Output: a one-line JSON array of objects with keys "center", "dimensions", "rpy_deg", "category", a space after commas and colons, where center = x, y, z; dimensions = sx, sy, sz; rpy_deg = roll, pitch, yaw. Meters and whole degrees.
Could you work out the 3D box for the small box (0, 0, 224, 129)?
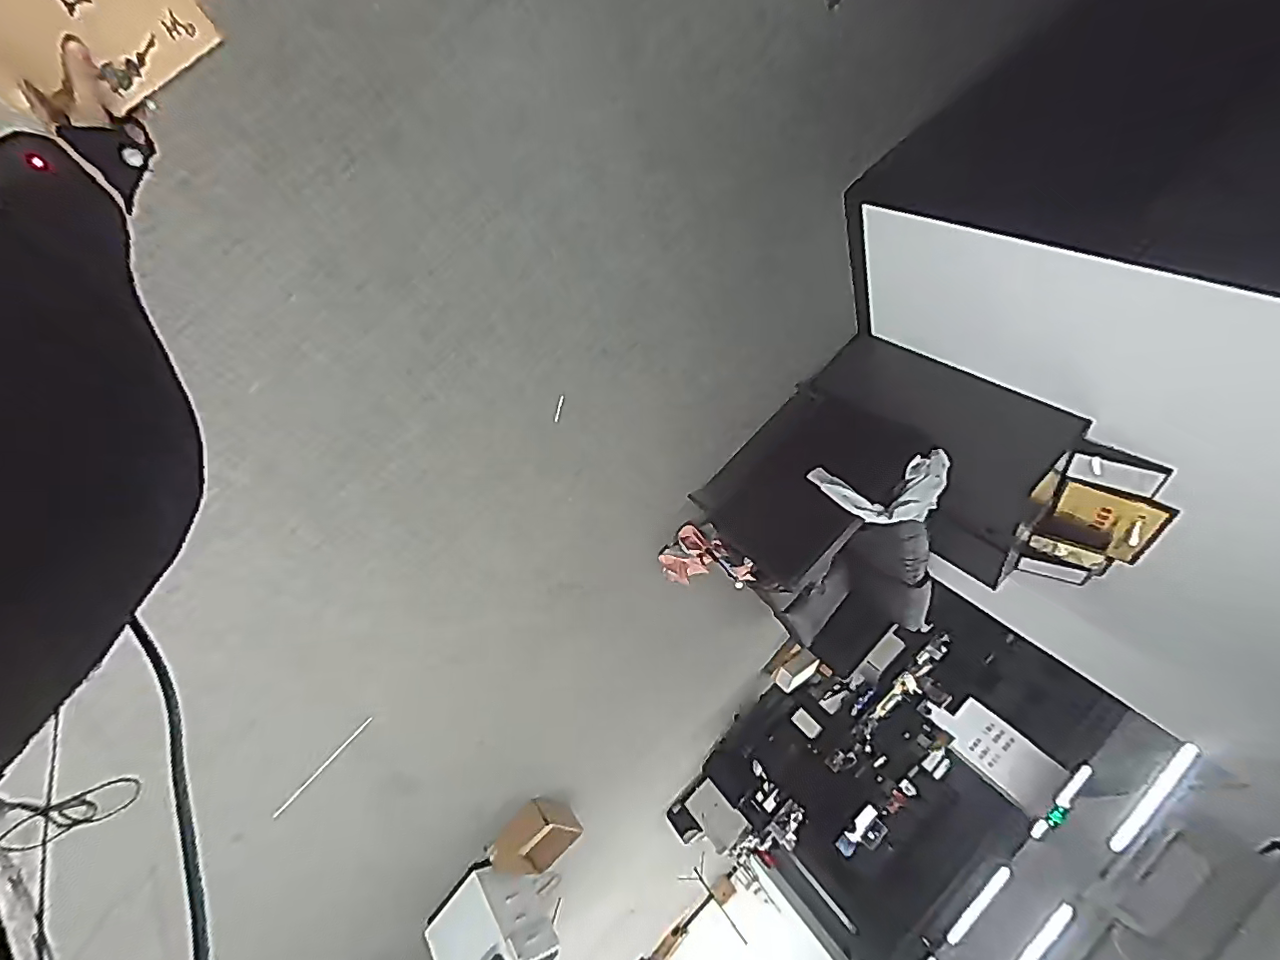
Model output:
[{"center": [-0.559, -0.480, 0.515], "dimensions": [0.168, 0.176, 0.179], "rpy_deg": [-45, 147, -7], "category": "small box"}]
